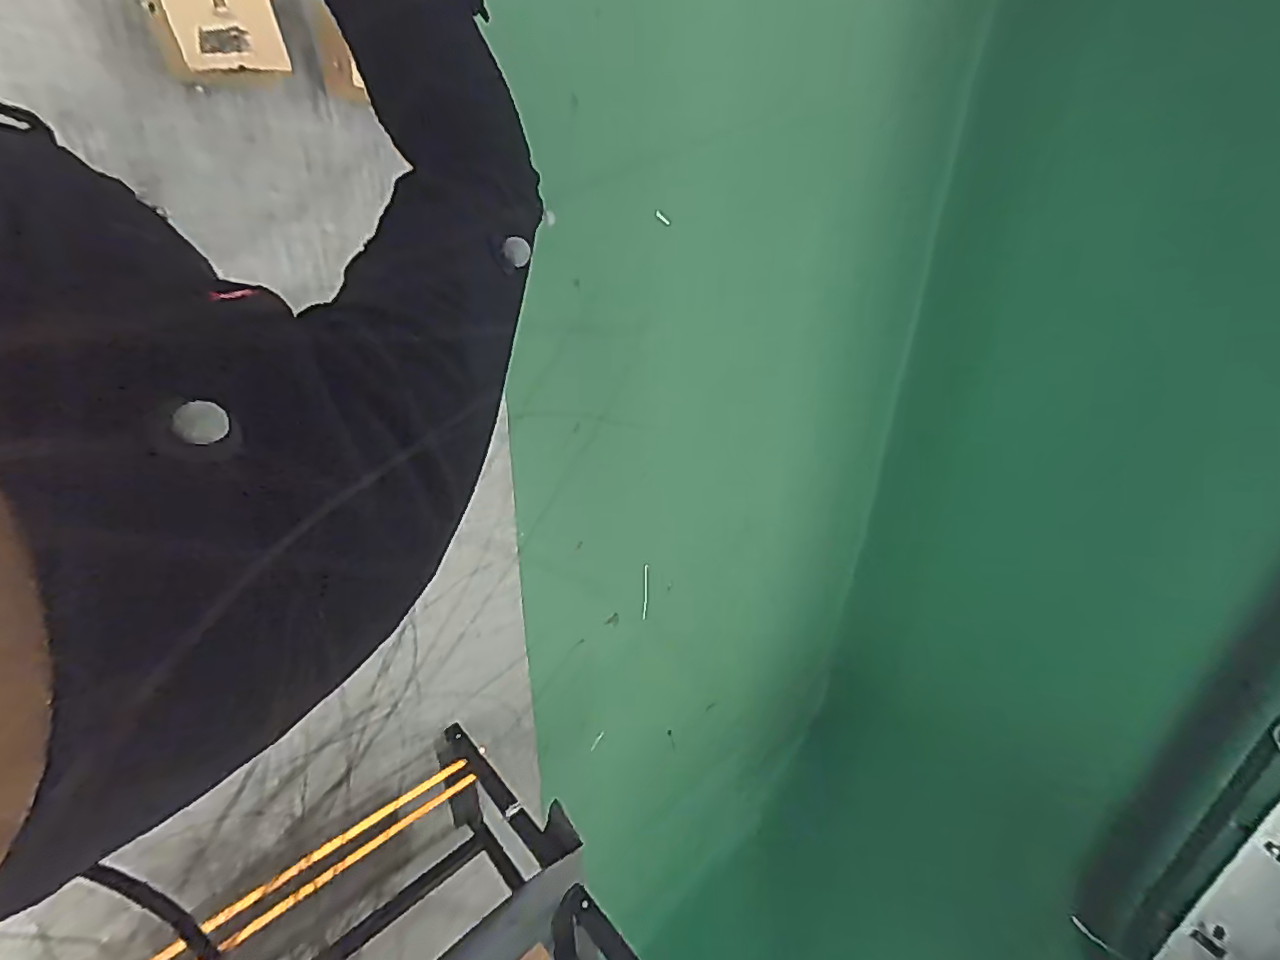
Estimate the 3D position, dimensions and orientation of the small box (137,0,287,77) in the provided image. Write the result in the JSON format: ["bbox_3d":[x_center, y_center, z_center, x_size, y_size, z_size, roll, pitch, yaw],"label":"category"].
[{"bbox_3d":[-0.760,-0.824,0.946,0.168,0.176,0.179,-30,129,-35],"label":"small box"}]

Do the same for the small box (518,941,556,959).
[{"bbox_3d":[-0.280,1.404,1.448,0.168,0.176,0.179,-22,125,-39],"label":"small box"}]
